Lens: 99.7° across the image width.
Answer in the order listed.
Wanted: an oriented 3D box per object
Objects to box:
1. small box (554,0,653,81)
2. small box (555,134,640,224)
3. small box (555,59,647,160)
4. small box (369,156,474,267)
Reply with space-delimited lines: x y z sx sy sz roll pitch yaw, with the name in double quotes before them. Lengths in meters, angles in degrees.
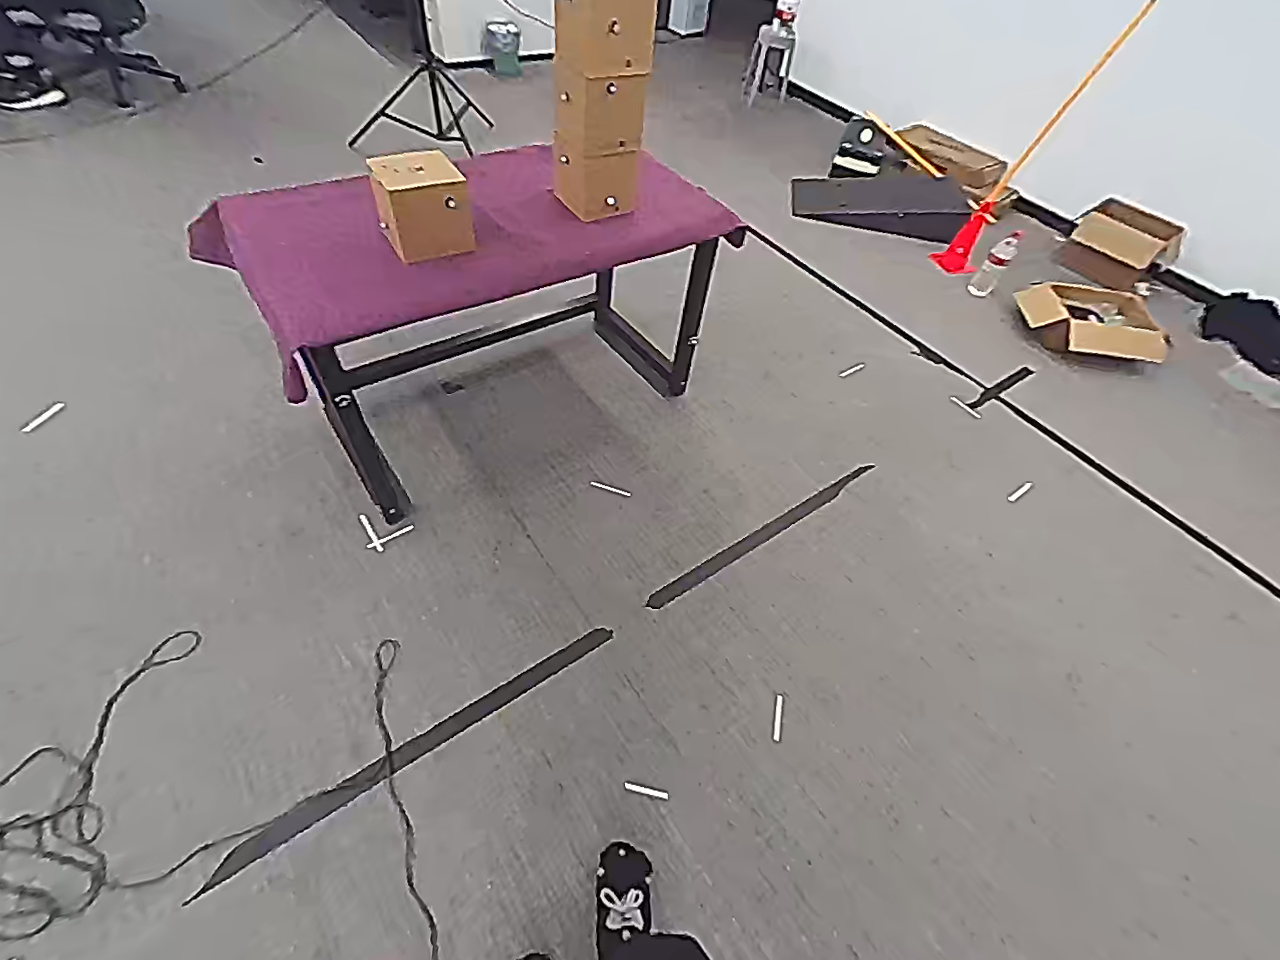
"small box" -0.082 -1.020 1.215 0.168 0.176 0.179 -23 58 -22
"small box" -0.121 -0.828 1.477 0.168 0.176 0.179 -25 60 -23
"small box" -0.102 -0.925 1.346 0.168 0.176 0.179 -23 58 -22
"small box" -0.505 -0.630 1.273 0.179 0.176 0.168 -24 58 -23
